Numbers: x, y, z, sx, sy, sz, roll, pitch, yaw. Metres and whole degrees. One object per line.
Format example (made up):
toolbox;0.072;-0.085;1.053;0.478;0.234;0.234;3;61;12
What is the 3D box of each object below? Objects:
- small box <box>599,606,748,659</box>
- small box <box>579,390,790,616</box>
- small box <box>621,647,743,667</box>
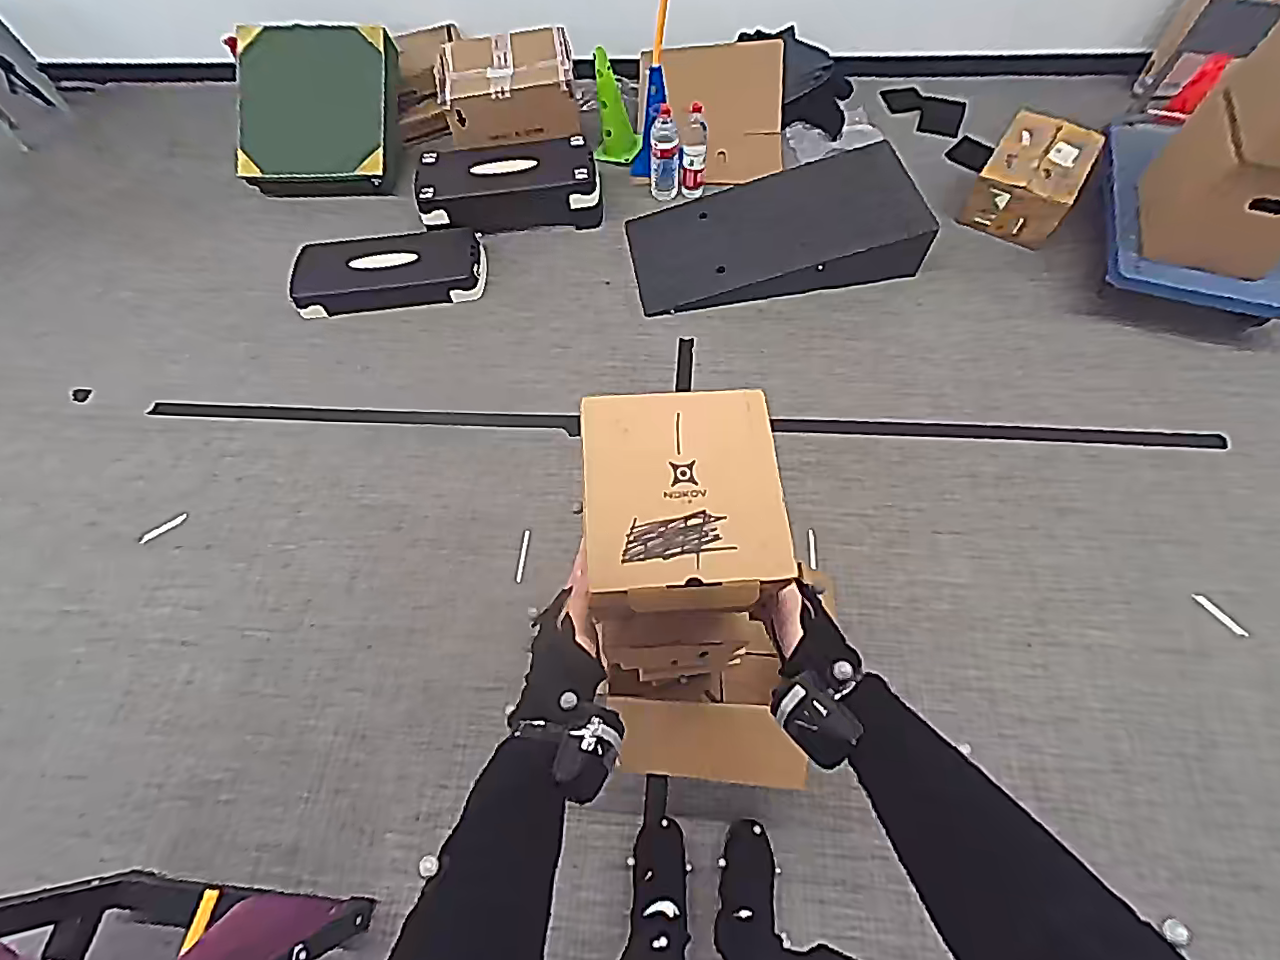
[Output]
small box;0.035;0.133;0.692;0.168;0.176;0.179;-1;67;-2
small box;0.030;0.033;0.521;0.168;0.176;0.179;-3;68;-4
small box;0.052;0.198;0.842;0.179;0.176;0.168;-2;68;-2
